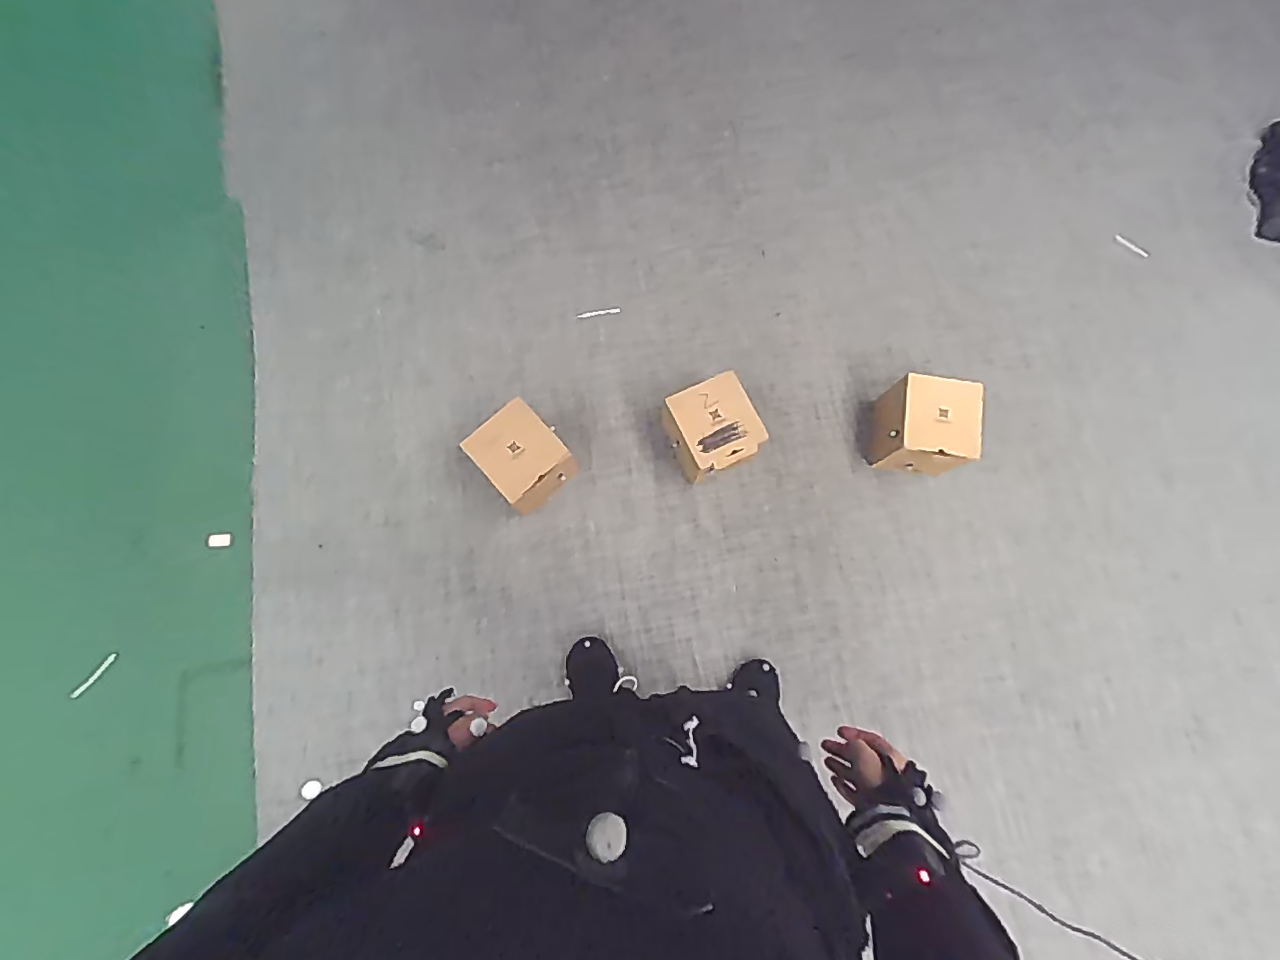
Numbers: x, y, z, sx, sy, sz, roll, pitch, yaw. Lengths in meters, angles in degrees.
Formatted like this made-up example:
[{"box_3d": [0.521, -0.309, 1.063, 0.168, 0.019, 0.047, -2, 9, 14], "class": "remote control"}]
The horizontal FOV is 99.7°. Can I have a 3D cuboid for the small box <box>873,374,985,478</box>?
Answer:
[{"box_3d": [0.647, -0.117, 1.226, 0.168, 0.176, 0.179, 9, 78, 1], "class": "small box"}]

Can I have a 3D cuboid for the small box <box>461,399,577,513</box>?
[{"box_3d": [-0.259, -0.043, 1.204, 0.168, 0.176, 0.179, -42, 80, -10], "class": "small box"}]
